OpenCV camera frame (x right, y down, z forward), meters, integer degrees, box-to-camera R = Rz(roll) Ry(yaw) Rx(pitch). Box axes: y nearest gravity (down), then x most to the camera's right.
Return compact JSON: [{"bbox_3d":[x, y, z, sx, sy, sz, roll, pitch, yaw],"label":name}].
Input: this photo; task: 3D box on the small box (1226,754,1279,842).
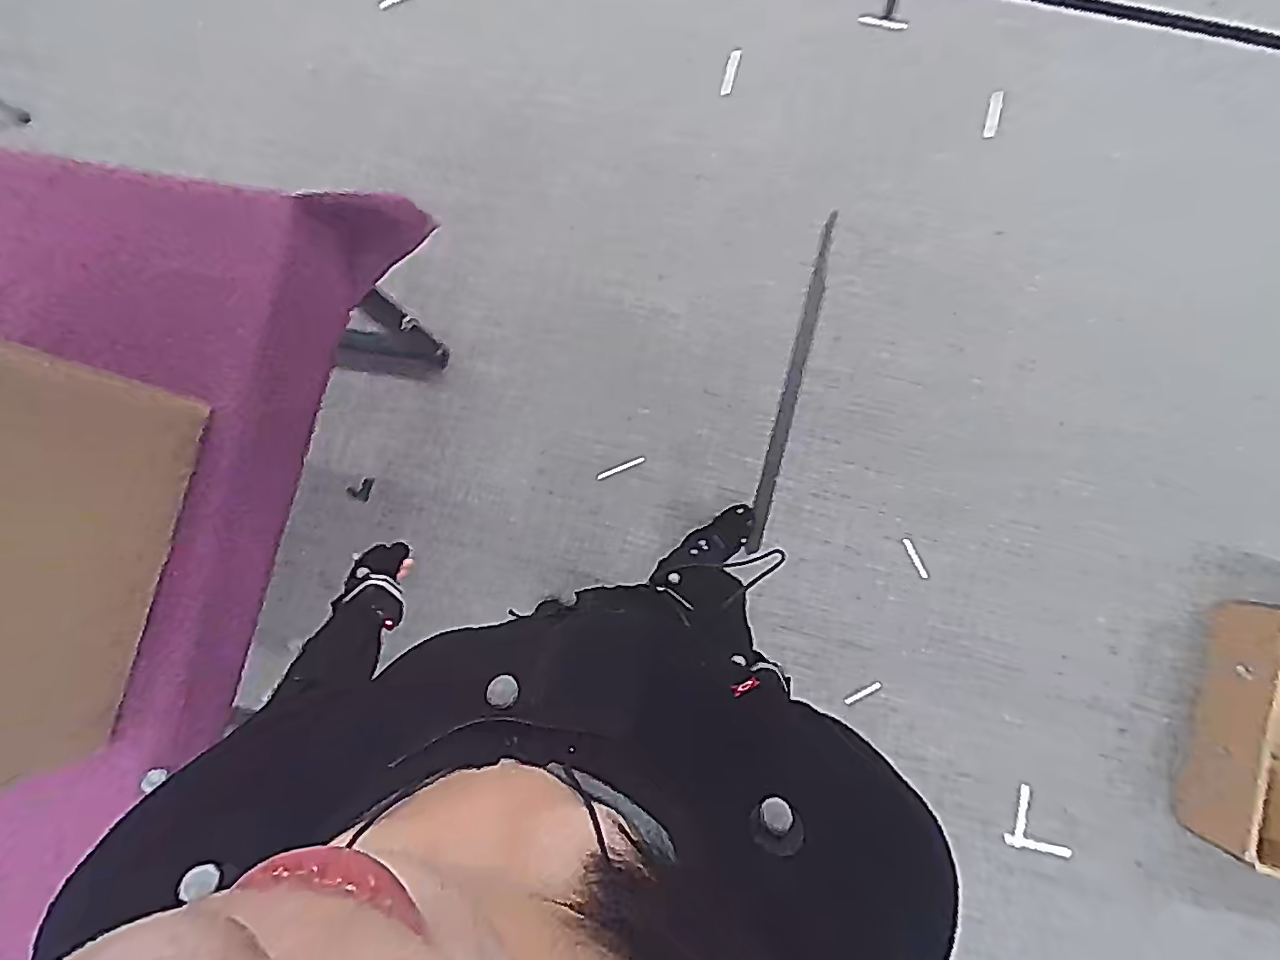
[{"bbox_3d":[1.568,0.774,1.293,0.179,0.176,0.168,3,83,1],"label":"small box"}]
